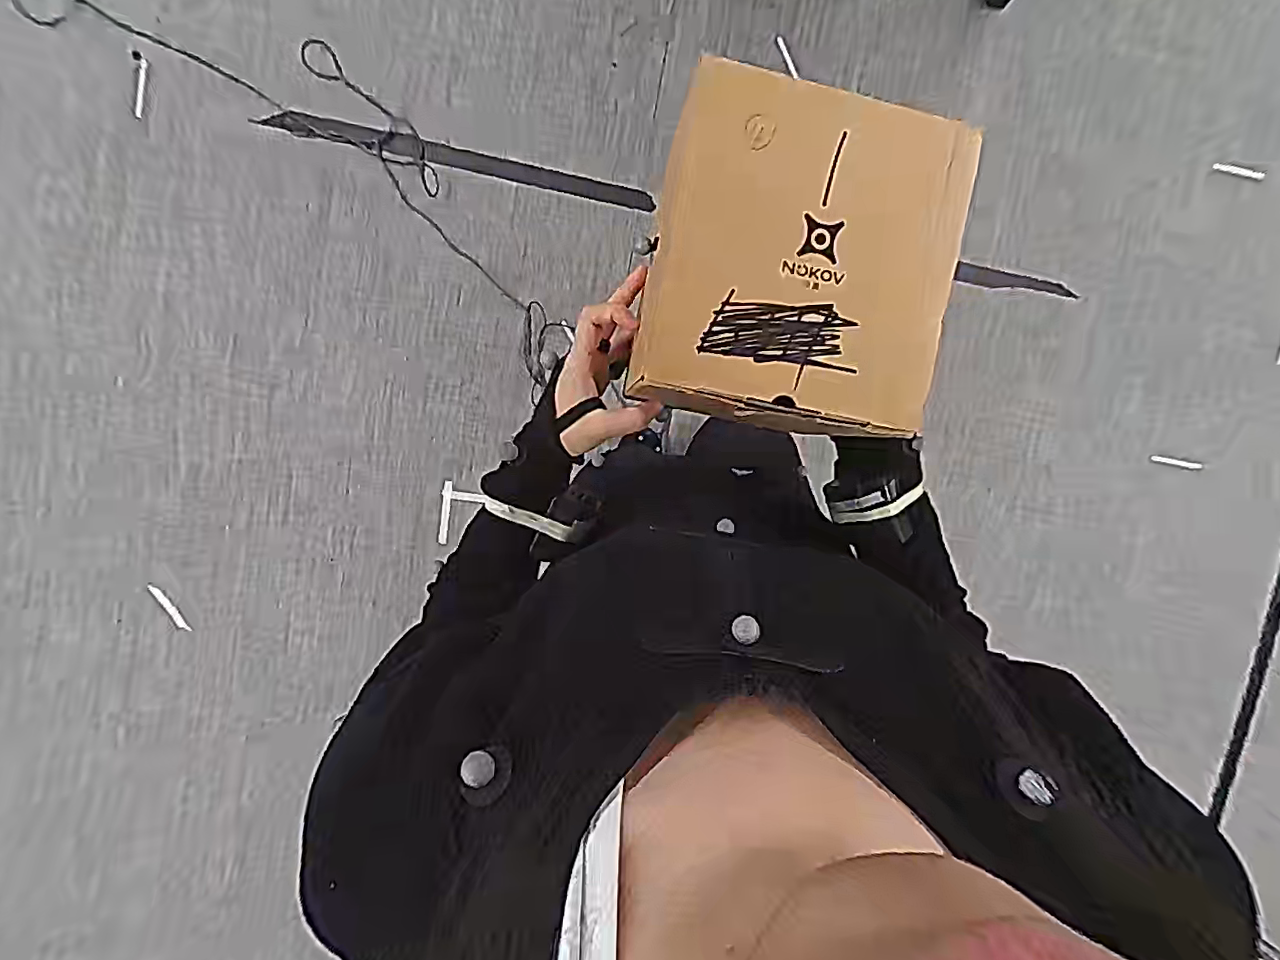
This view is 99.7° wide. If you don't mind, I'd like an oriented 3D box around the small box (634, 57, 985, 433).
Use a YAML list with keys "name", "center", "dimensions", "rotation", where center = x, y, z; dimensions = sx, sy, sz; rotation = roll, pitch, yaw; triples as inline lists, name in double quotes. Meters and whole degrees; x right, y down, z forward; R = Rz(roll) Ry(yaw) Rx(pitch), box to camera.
- name: "small box"
  center: [0.090, -0.134, 0.378]
  dimensions: [0.168, 0.176, 0.179]
  rotation: [9, 96, -5]
